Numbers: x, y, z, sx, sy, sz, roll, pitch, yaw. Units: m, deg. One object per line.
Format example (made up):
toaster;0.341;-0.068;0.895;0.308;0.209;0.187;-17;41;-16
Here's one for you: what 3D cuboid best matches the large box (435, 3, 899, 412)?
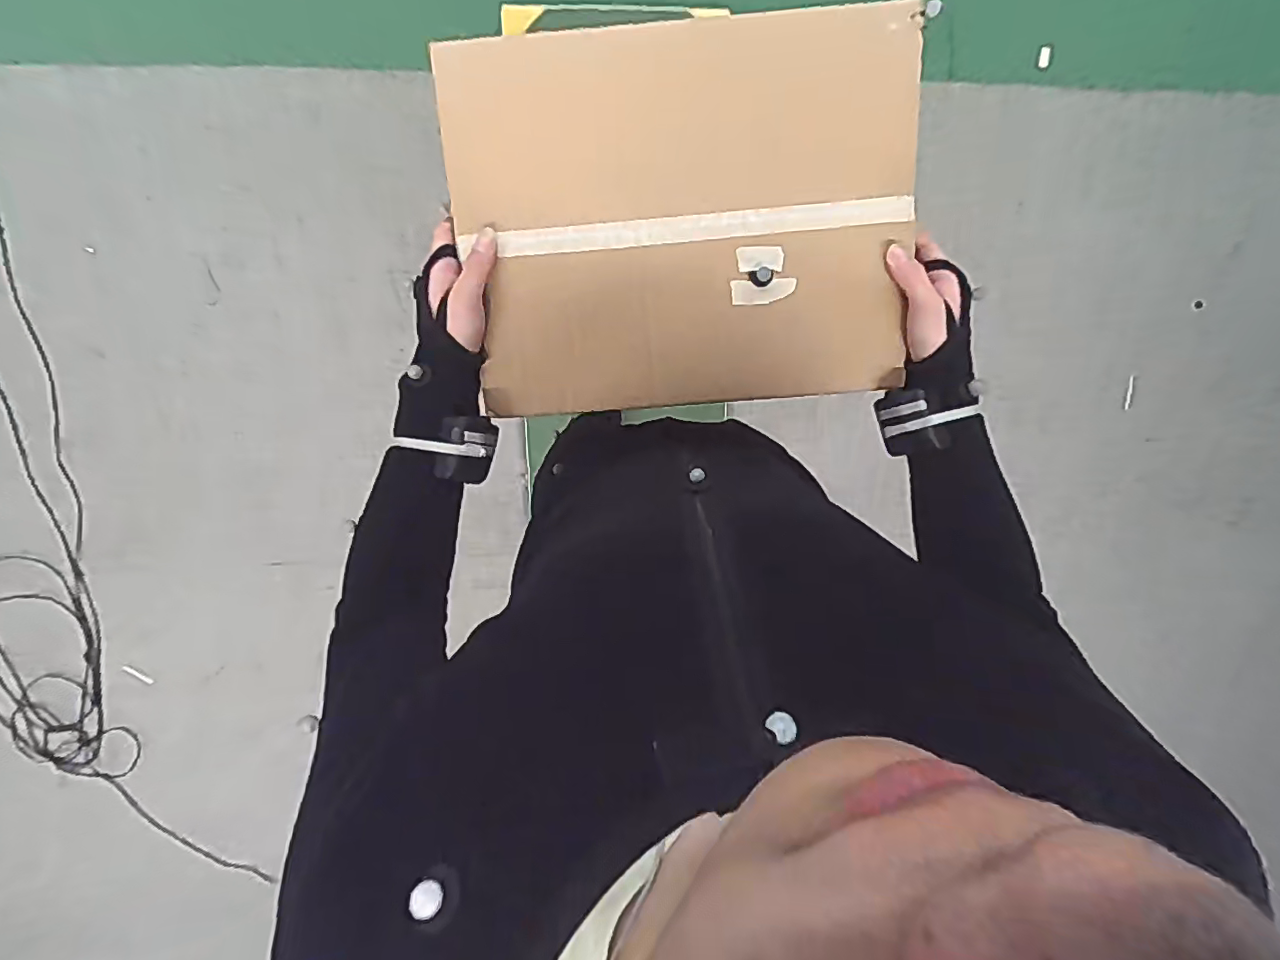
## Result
large box;0.032;-0.270;0.638;0.408;0.320;0.320;-5;105;1
